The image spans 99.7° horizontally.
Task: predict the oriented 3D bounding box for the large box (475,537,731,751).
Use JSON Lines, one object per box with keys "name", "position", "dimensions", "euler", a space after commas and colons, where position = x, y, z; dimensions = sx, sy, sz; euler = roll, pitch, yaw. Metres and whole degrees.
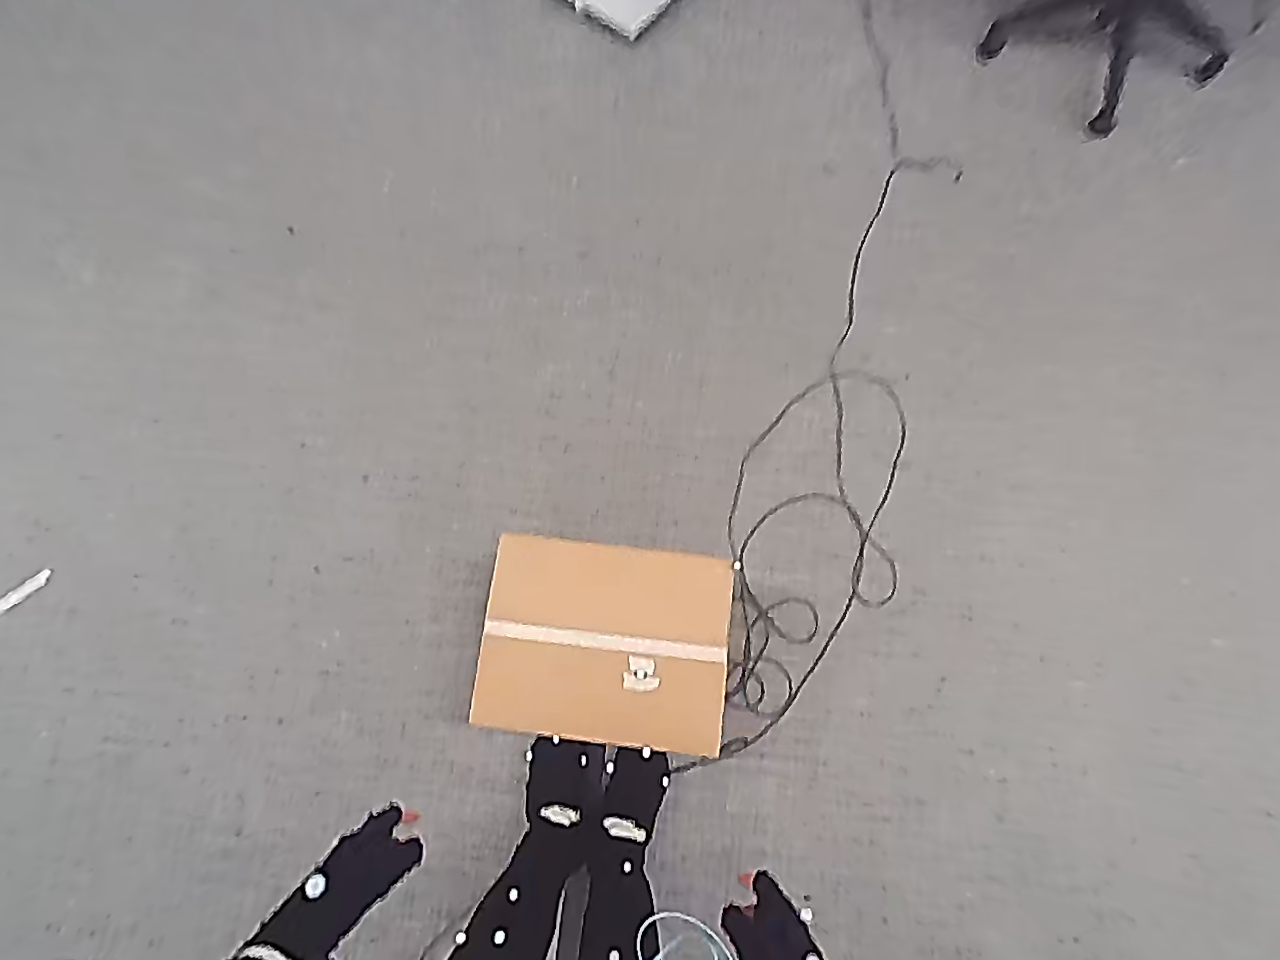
{"name": "large box", "position": [-0.057, 0.300, 1.044], "dimensions": [0.408, 0.320, 0.320], "euler": [7, 78, 2]}
